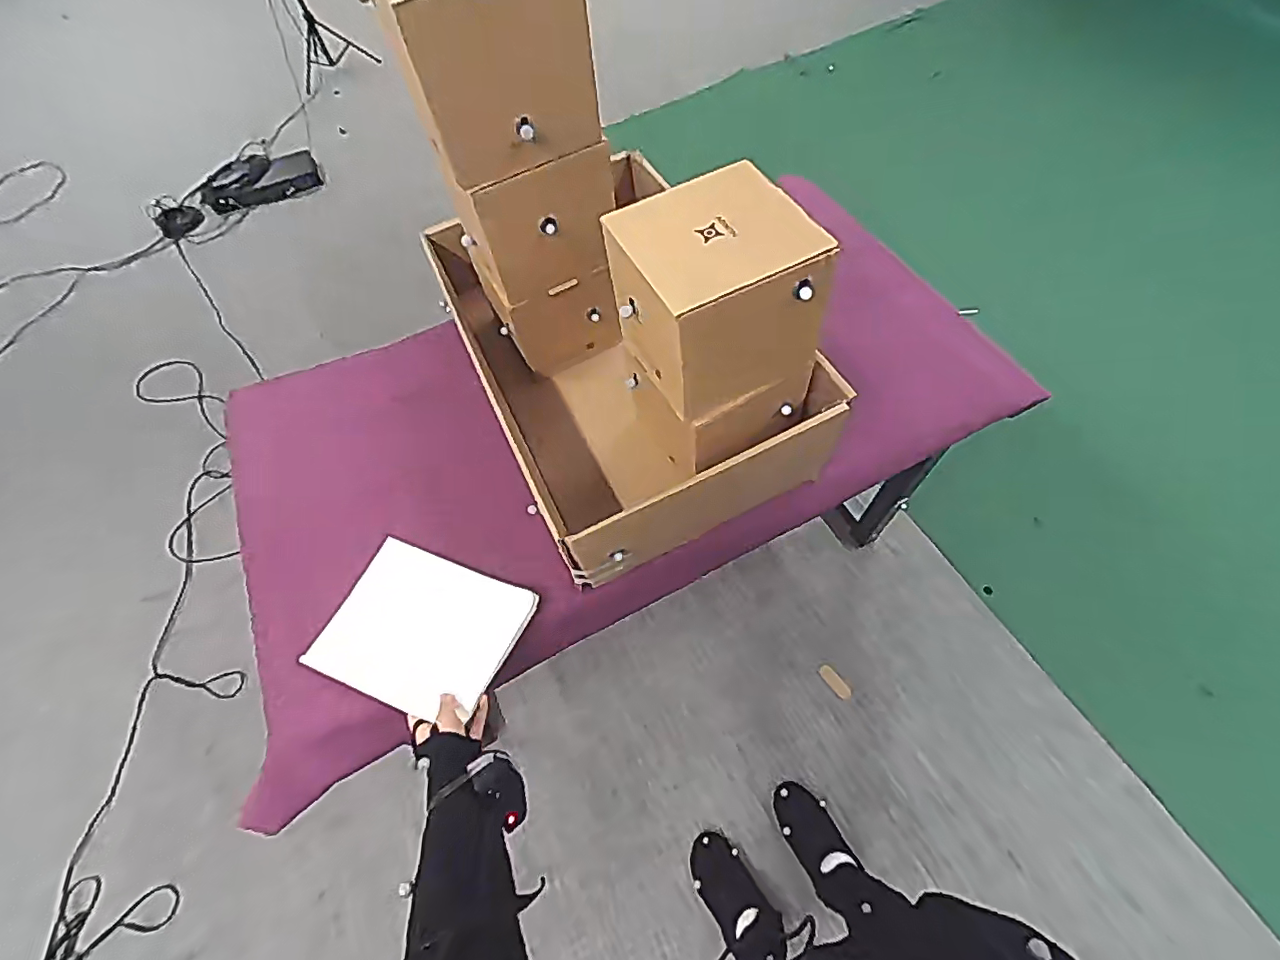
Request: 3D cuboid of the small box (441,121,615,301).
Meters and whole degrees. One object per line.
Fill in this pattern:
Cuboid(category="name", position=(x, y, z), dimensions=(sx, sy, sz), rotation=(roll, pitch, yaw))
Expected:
Cuboid(category="small box", position=(-0.141, -0.373, 0.709), dimensions=(0.179, 0.176, 0.168), rotation=(-28, 64, -10))

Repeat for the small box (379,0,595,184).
Cuboid(category="small box", position=(-0.156, -0.451, 0.565), dimensions=(0.179, 0.176, 0.168), rotation=(-25, 63, -10))

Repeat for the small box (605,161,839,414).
Cuboid(category="small box", position=(0.083, -0.201, 0.591), dimensions=(0.179, 0.176, 0.168), rotation=(-25, 61, -9))
